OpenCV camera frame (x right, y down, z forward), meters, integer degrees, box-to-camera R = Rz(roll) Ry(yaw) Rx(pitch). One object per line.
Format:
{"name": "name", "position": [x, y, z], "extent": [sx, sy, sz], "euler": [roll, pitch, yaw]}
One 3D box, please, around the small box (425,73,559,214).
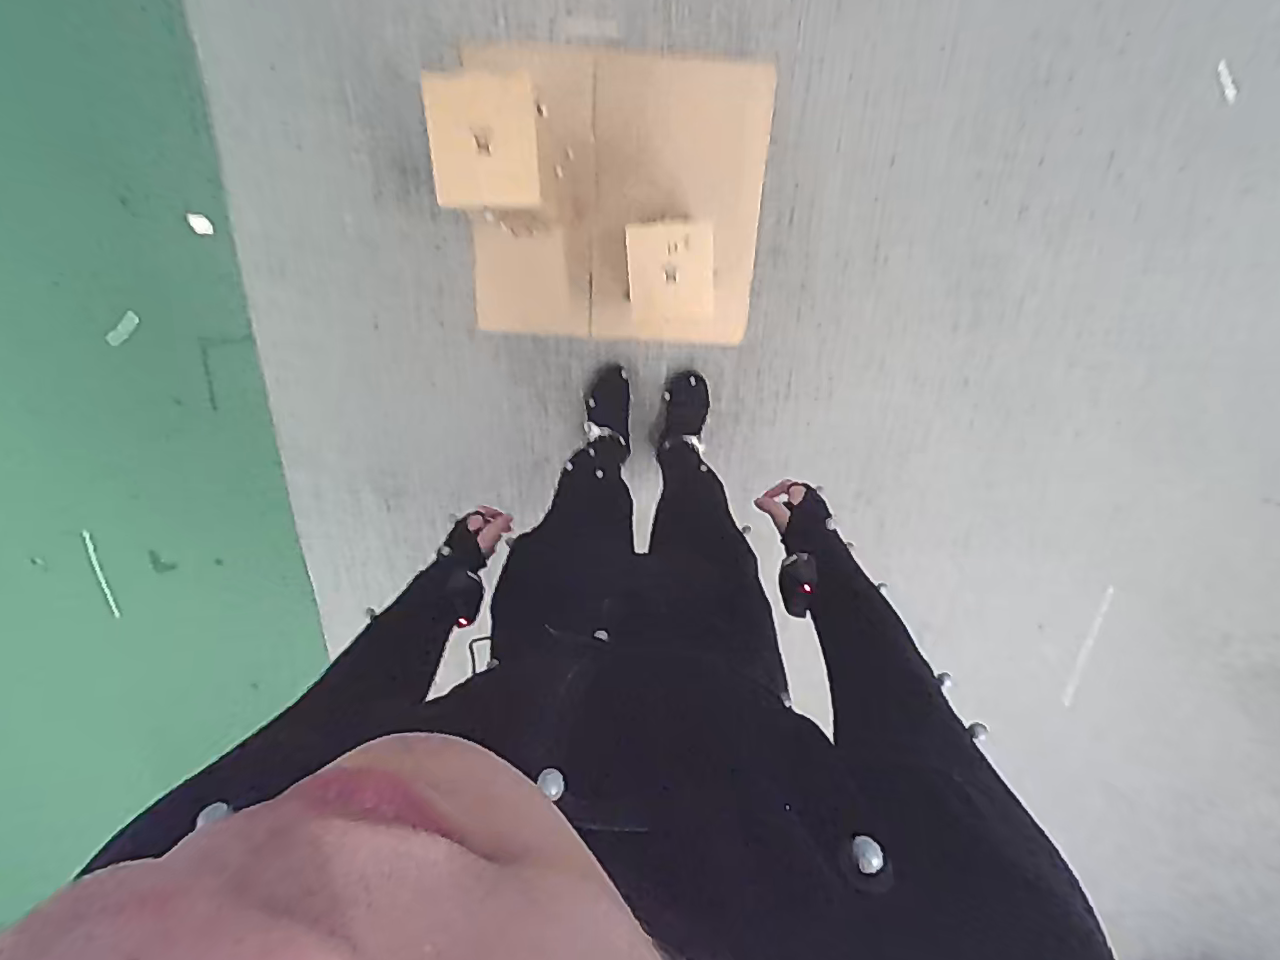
{"name": "small box", "position": [-0.232, -0.541, 0.893], "extent": [0.168, 0.176, 0.179], "euler": [0, 111, 1]}

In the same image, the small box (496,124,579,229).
{"name": "small box", "position": [-0.232, -0.661, 1.196], "extent": [0.168, 0.176, 0.179], "euler": [-4, 112, 2]}

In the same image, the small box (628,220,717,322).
{"name": "small box", "position": [0.065, -0.427, 1.103], "extent": [0.168, 0.176, 0.179], "euler": [-3, 112, 1]}

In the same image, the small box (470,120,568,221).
{"name": "small box", "position": [-0.234, -0.600, 1.044], "extent": [0.168, 0.176, 0.179], "euler": [-1, 111, 1]}
